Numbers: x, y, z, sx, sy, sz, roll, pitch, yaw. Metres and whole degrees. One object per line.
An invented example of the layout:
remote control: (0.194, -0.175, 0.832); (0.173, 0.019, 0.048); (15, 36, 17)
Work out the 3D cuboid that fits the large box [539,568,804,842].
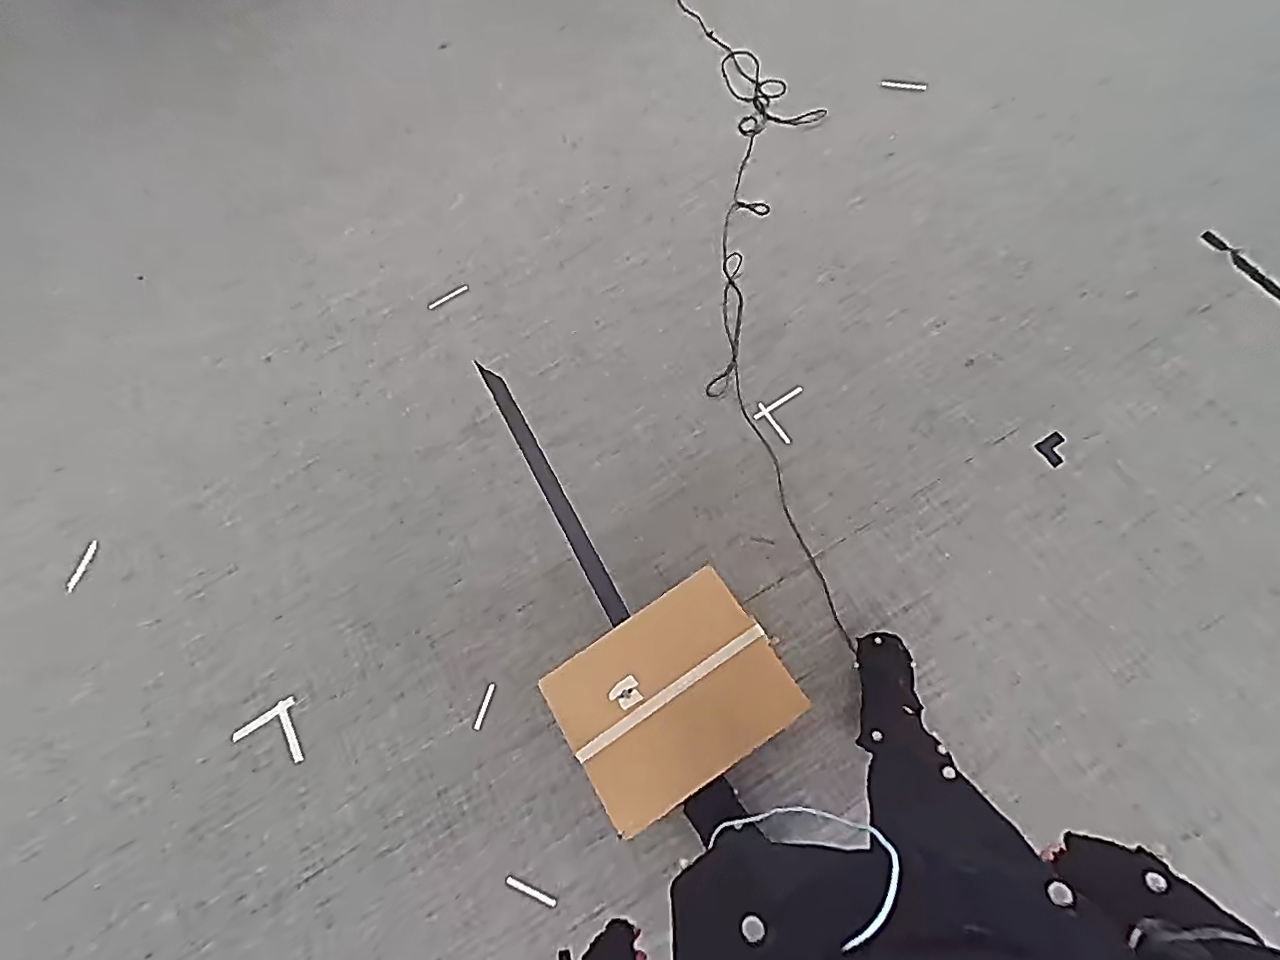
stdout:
large box: (0.072, 0.440, 1.130); (0.408, 0.320, 0.320); (-34, 69, -3)
